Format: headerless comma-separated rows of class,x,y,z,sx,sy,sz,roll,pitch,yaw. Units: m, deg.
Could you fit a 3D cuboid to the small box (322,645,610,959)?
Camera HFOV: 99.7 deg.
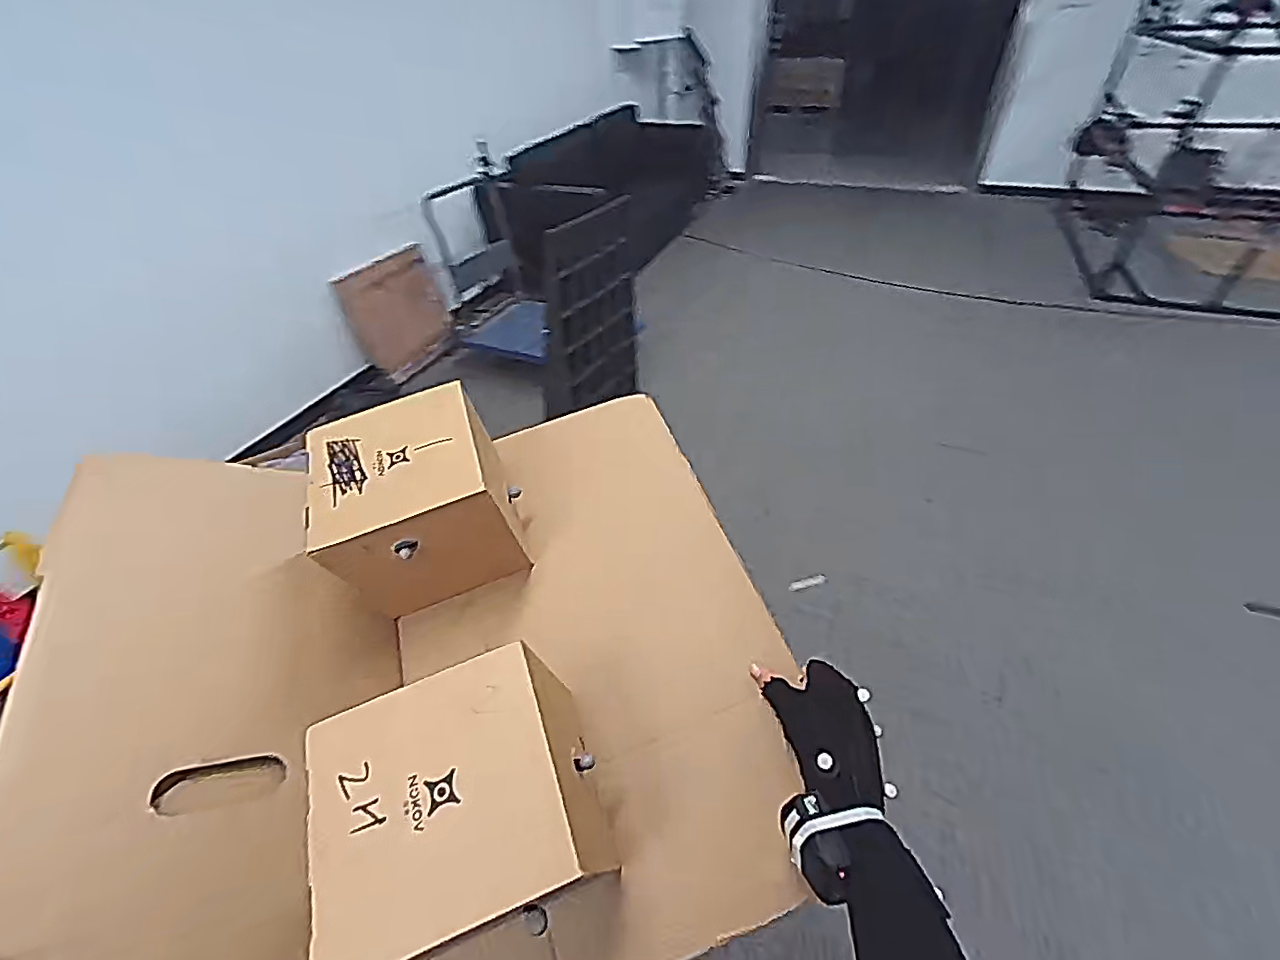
small box,-0.132,0.266,0.454,0.179,0.176,0.168,-20,55,-4

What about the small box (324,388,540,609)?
small box,-0.235,0.028,0.634,0.179,0.176,0.168,-19,55,-5
